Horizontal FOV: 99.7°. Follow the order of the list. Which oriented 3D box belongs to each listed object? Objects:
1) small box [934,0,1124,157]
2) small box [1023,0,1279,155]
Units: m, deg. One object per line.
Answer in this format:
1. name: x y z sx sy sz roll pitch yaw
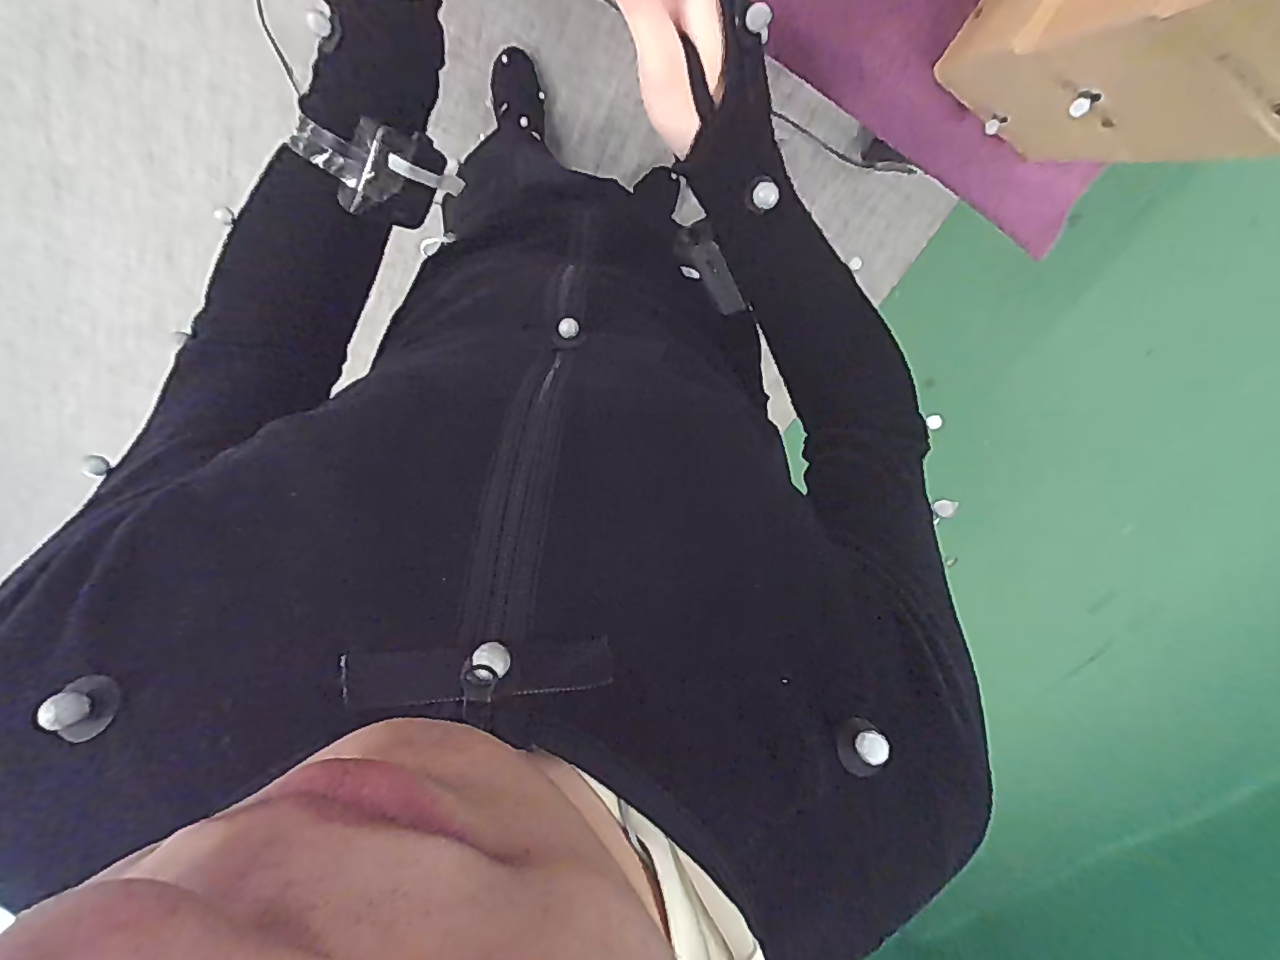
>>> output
1. small box: 0.449 -0.460 0.547 0.179 0.176 0.168 28 117 -14
2. small box: 0.450 -0.378 0.406 0.168 0.176 0.179 29 117 -13
